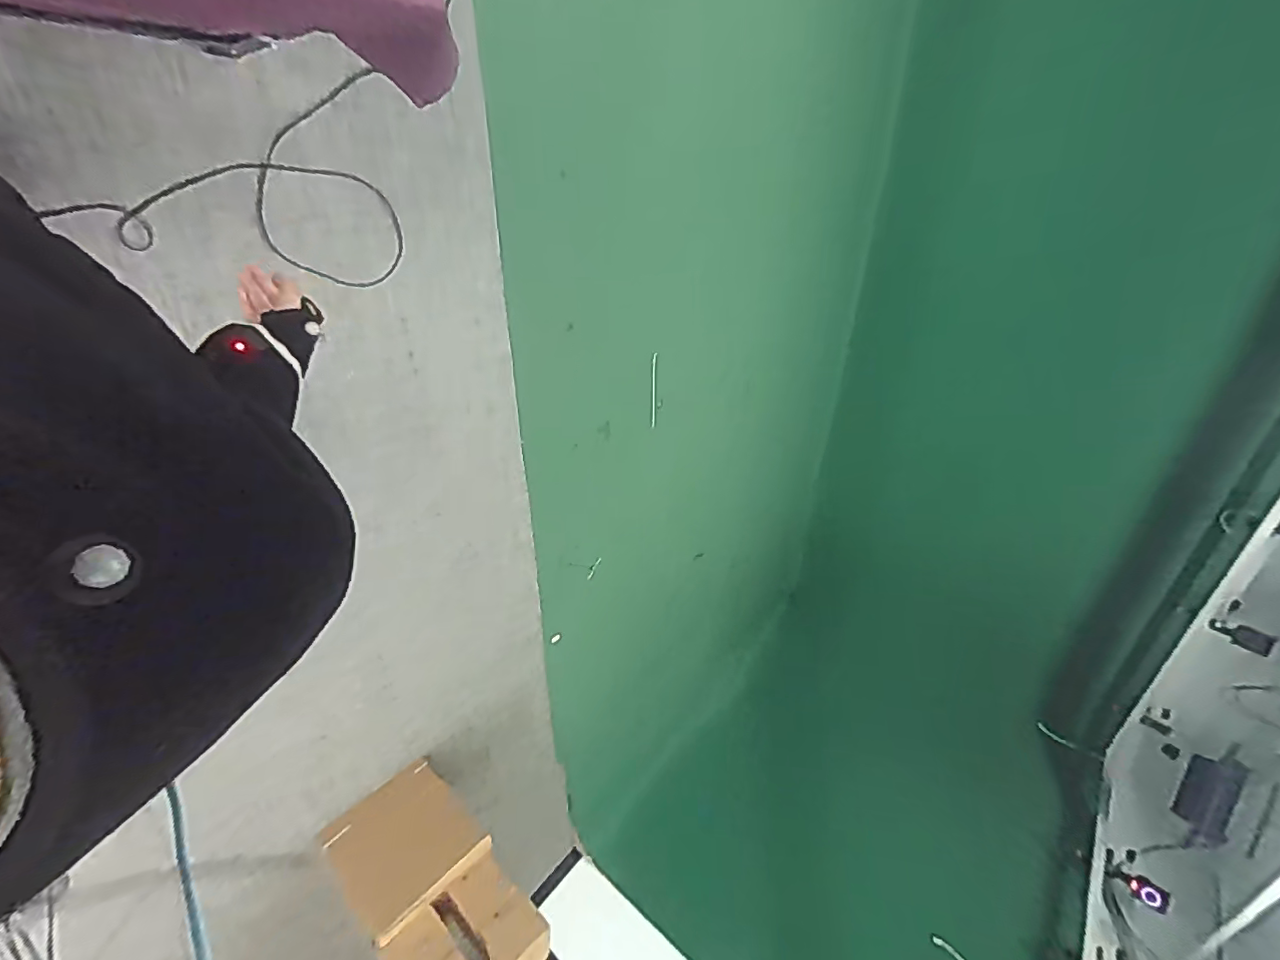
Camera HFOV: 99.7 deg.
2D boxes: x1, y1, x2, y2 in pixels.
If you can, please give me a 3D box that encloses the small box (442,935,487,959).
[{"bbox_3d":[-0.536,1.539,1.620,0.179,0.176,0.168,-29,131,-43],"label":"small box"}]
